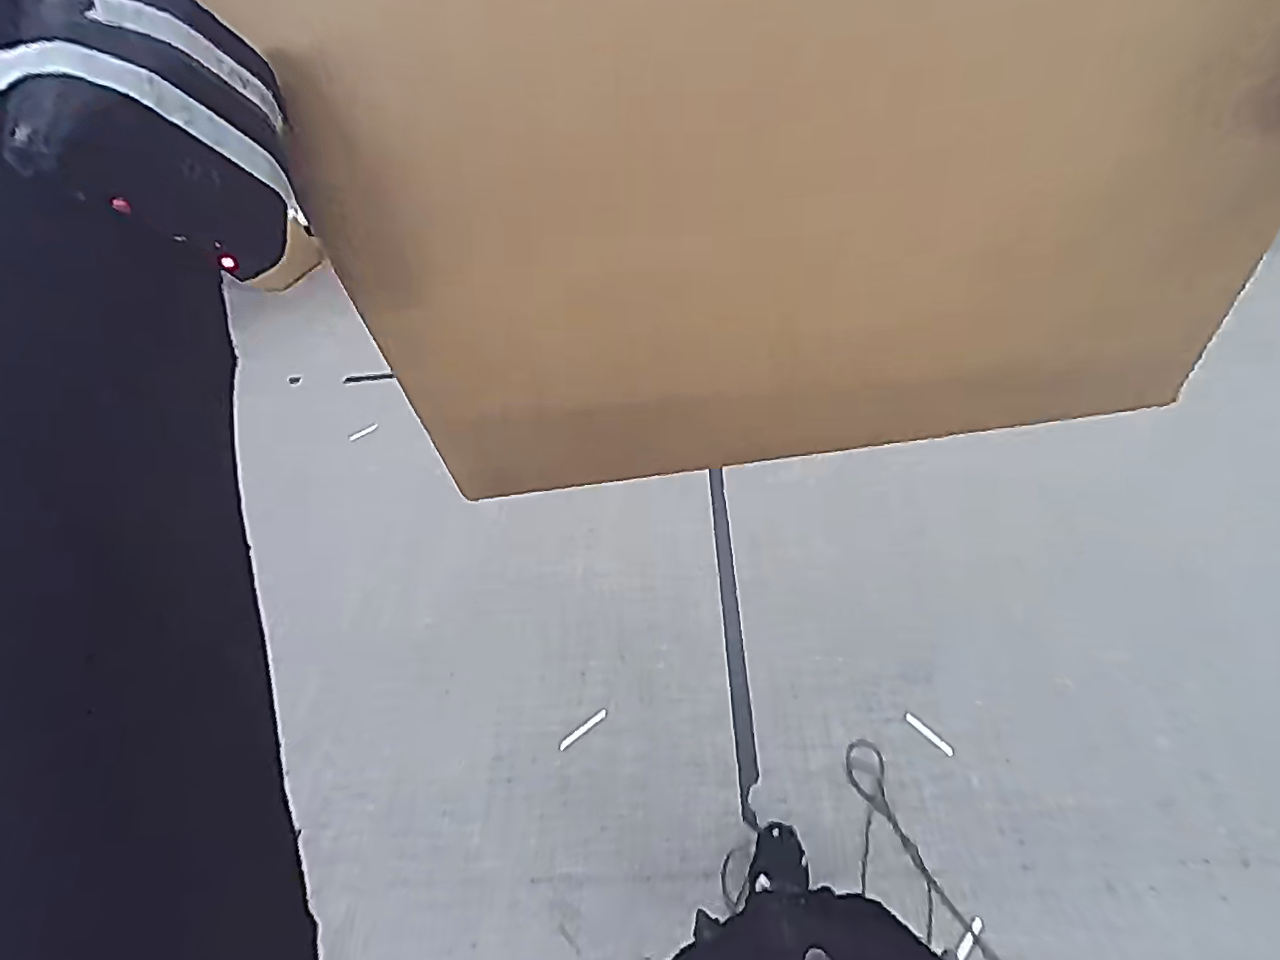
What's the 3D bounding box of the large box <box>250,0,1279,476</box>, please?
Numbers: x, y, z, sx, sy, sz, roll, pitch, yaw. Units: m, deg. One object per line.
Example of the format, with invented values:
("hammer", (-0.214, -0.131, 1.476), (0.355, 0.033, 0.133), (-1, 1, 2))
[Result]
("large box", (0.062, -0.235, 0.338), (0.408, 0.320, 0.320), (-8, 44, 4))
